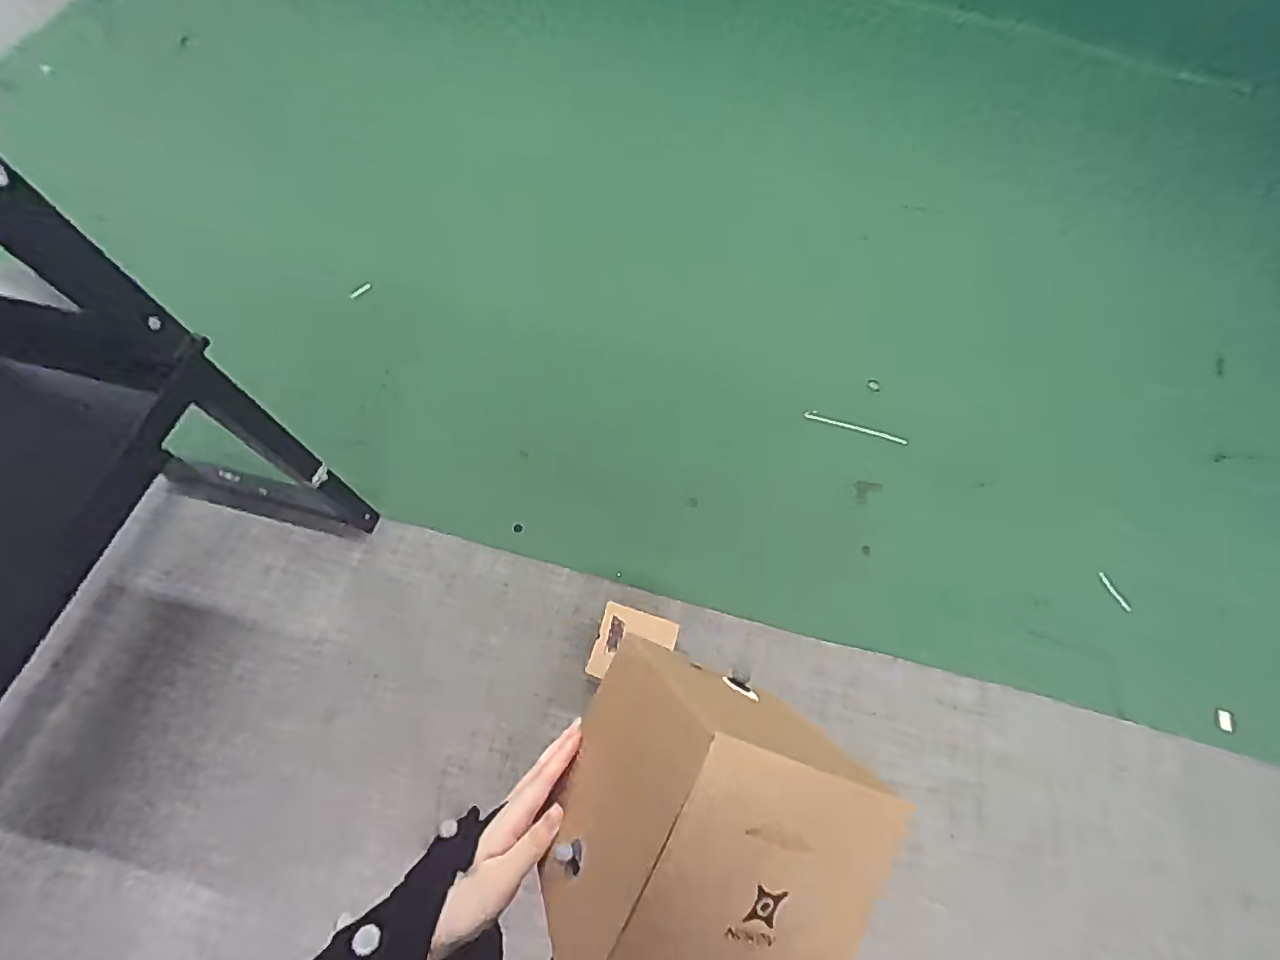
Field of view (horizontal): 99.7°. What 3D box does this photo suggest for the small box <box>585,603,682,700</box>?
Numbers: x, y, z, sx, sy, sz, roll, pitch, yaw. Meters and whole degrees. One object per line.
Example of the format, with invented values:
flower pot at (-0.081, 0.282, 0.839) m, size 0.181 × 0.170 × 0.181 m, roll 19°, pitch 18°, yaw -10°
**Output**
small box at (-0.018, 0.404, 1.252) m, size 0.179 × 0.176 × 0.168 m, roll 18°, pitch 67°, yaw 3°
